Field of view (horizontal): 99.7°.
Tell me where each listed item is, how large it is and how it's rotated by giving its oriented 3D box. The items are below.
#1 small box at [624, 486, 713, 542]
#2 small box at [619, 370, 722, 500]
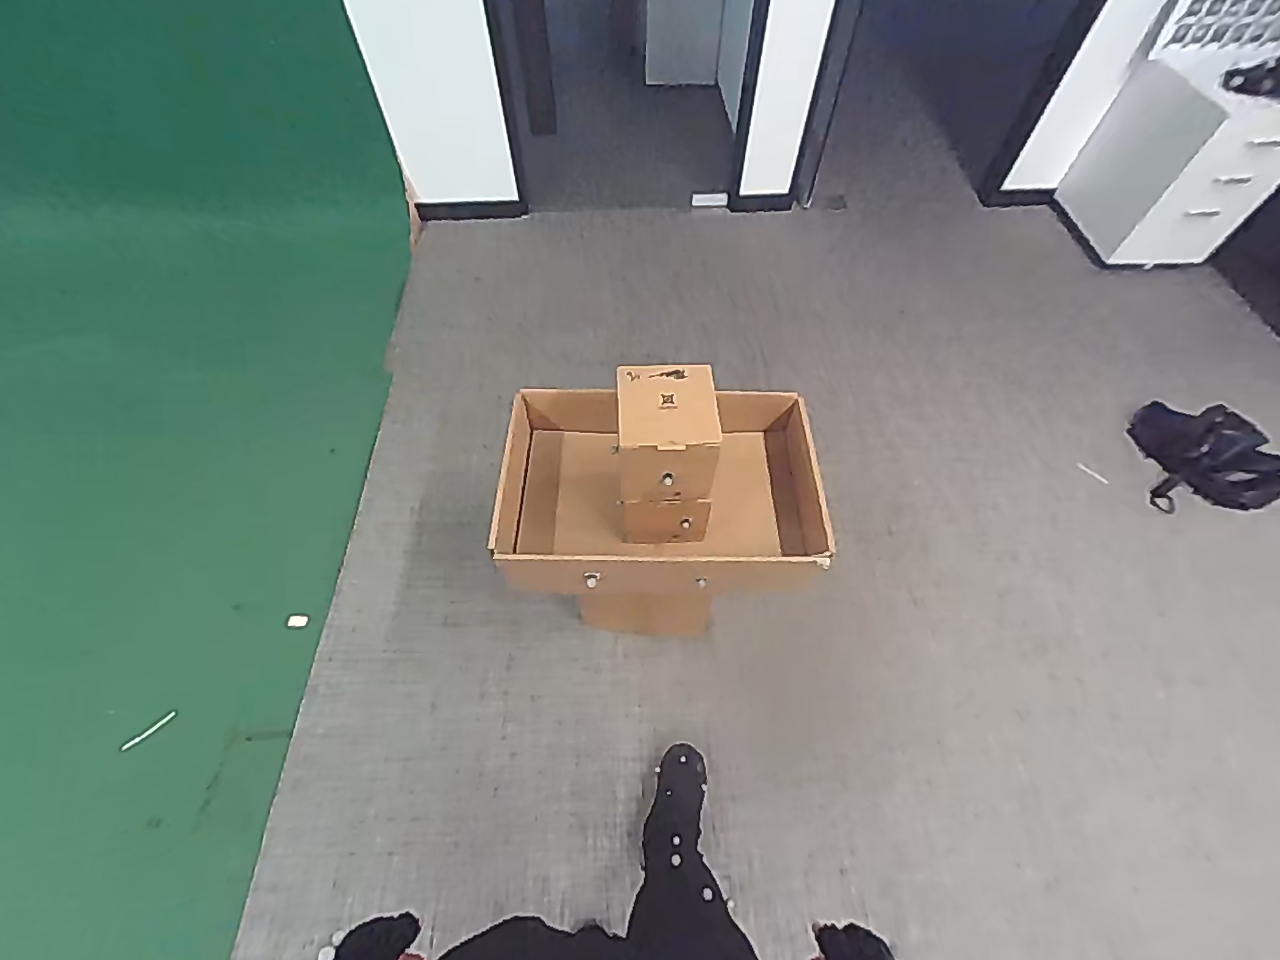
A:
[{"bbox_3d":[0.051,0.018,1.098,0.168,0.176,0.179,-1,55,-2],"label":"small box"},{"bbox_3d":[0.046,-0.074,0.963,0.168,0.176,0.179,-1,58,-2],"label":"small box"}]
